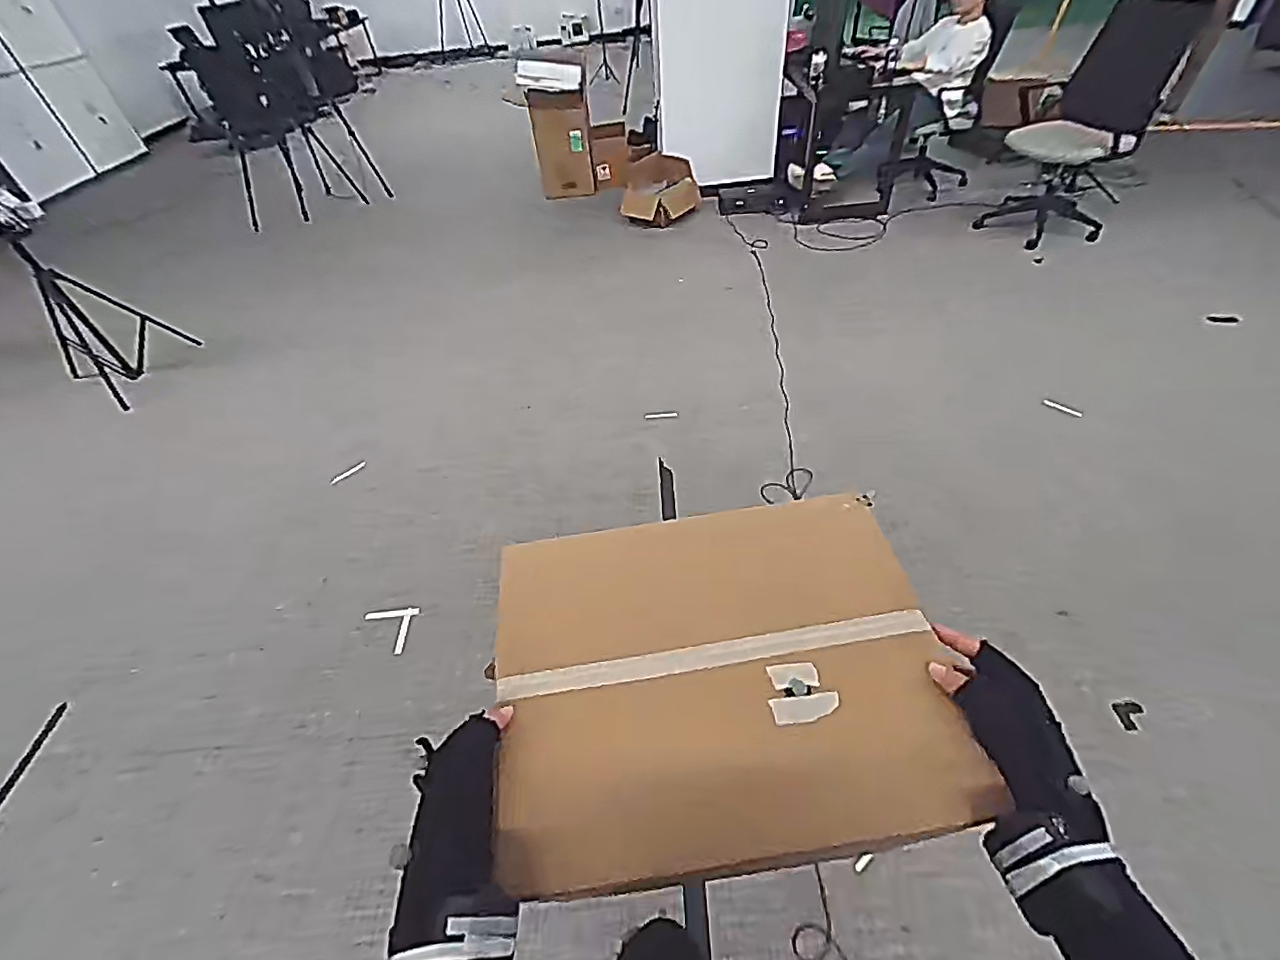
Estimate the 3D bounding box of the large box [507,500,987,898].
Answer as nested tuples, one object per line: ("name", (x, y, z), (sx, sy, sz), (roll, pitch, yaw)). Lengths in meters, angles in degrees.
("large box", (0.078, 0.265, 0.639), (0.408, 0.320, 0.320), (-9, 52, -2))
